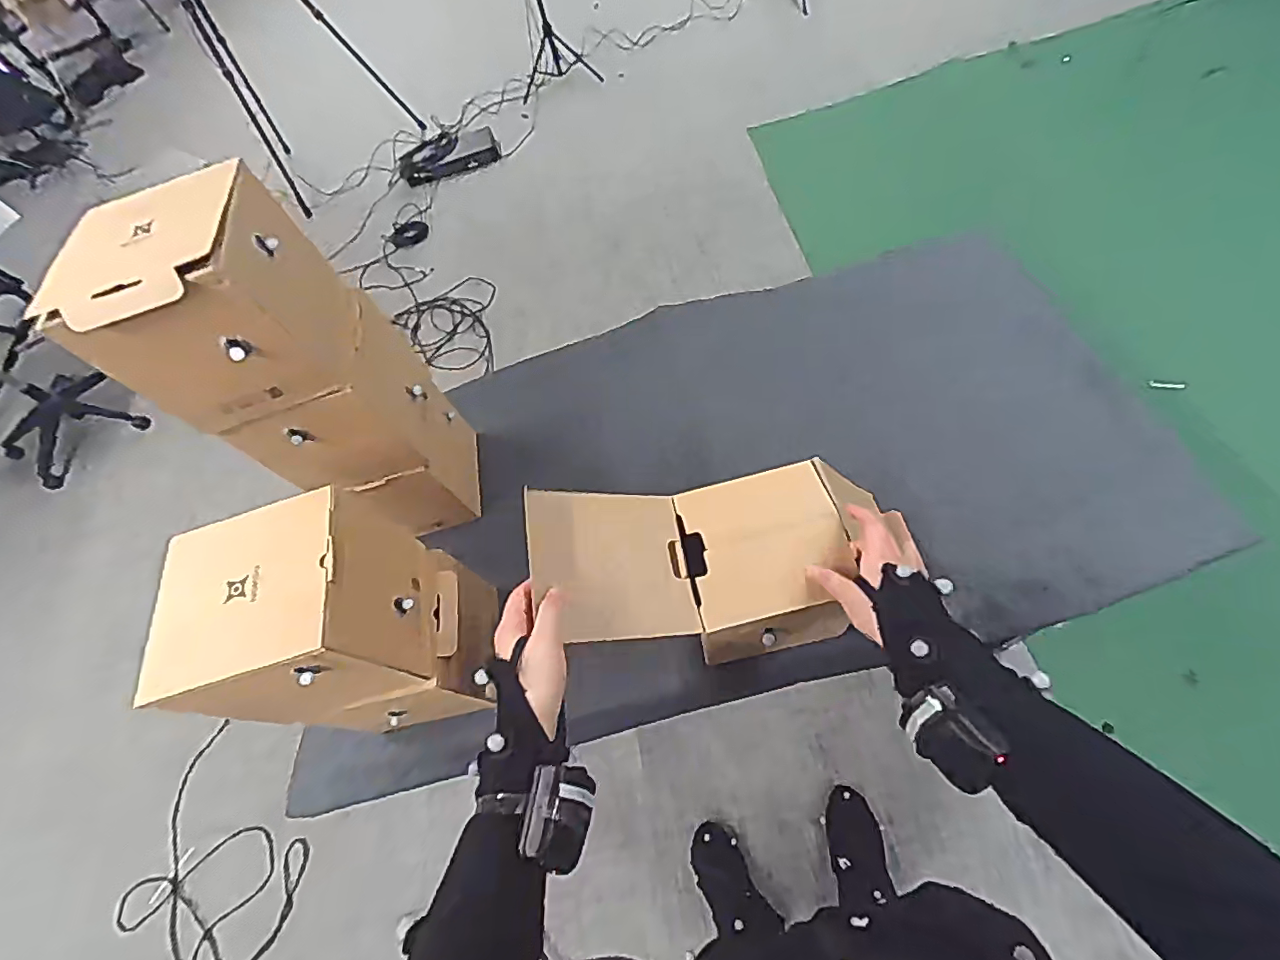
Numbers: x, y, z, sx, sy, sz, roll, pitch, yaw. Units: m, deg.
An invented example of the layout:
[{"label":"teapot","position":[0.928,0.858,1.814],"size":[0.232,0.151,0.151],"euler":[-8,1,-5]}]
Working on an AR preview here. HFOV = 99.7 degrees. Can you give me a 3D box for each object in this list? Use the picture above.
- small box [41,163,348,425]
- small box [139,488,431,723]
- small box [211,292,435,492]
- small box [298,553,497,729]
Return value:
[{"label":"small box","position":[-0.429,-0.177,0.559],"size":[0.168,0.176,0.179],"euler":[-18,59,1]},{"label":"small box","position":[-0.341,0.138,0.558],"size":[0.179,0.176,0.168],"euler":[-18,59,3]},{"label":"small box","position":[-0.390,-0.103,0.698],"size":[0.179,0.176,0.168],"euler":[-15,61,4]},{"label":"small box","position":[-0.293,0.213,0.694],"size":[0.179,0.176,0.168],"euler":[-15,60,6]}]
